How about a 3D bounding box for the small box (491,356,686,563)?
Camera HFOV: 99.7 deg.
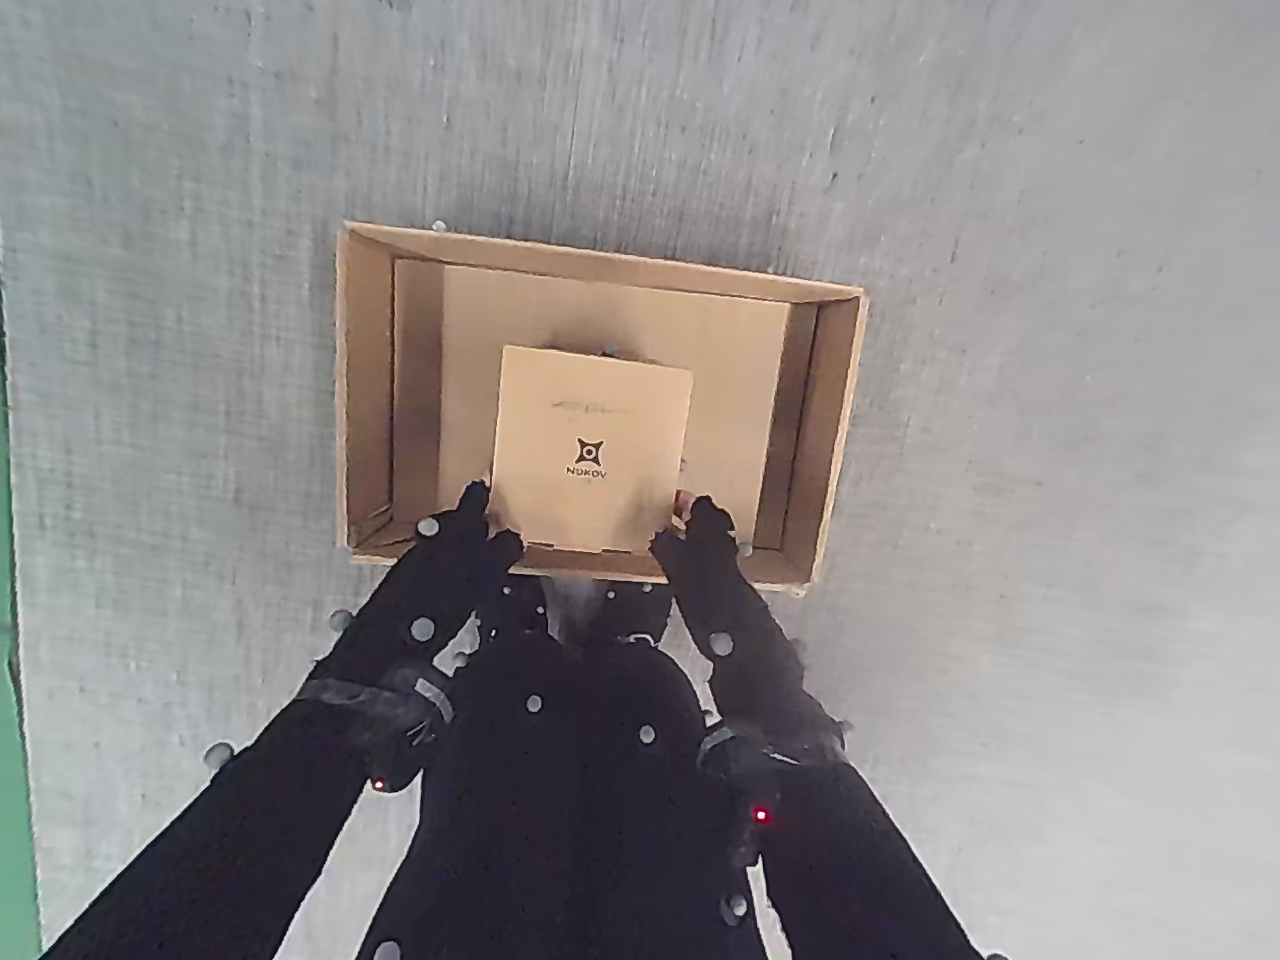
[{"bbox_3d":[-0.051,-0.031,0.549,0.168,0.176,0.179,2,103,-5],"label":"small box"}]
